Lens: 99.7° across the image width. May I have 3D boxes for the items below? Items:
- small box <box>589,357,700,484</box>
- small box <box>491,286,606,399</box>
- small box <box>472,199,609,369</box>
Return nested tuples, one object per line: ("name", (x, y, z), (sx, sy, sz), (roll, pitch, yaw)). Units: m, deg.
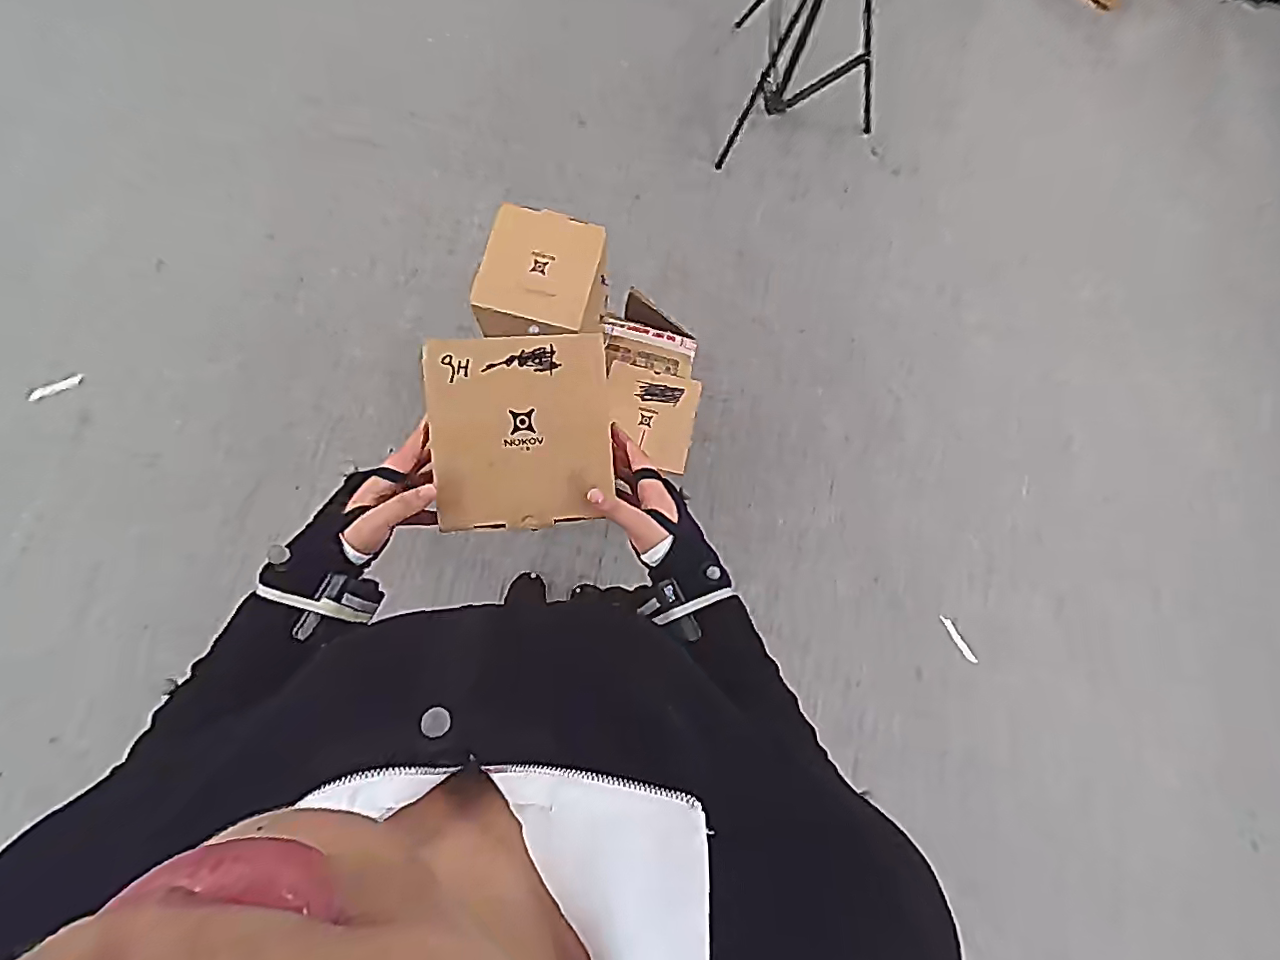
("small box", (0.001, -0.103, 1.020), (0.168, 0.176, 0.179), (14, 80, -5))
("small box", (-0.168, -0.277, 1.031), (0.168, 0.176, 0.179), (14, 79, -2))
("small box", (-0.152, -0.305, 0.872), (0.168, 0.176, 0.179), (14, 80, -2))
